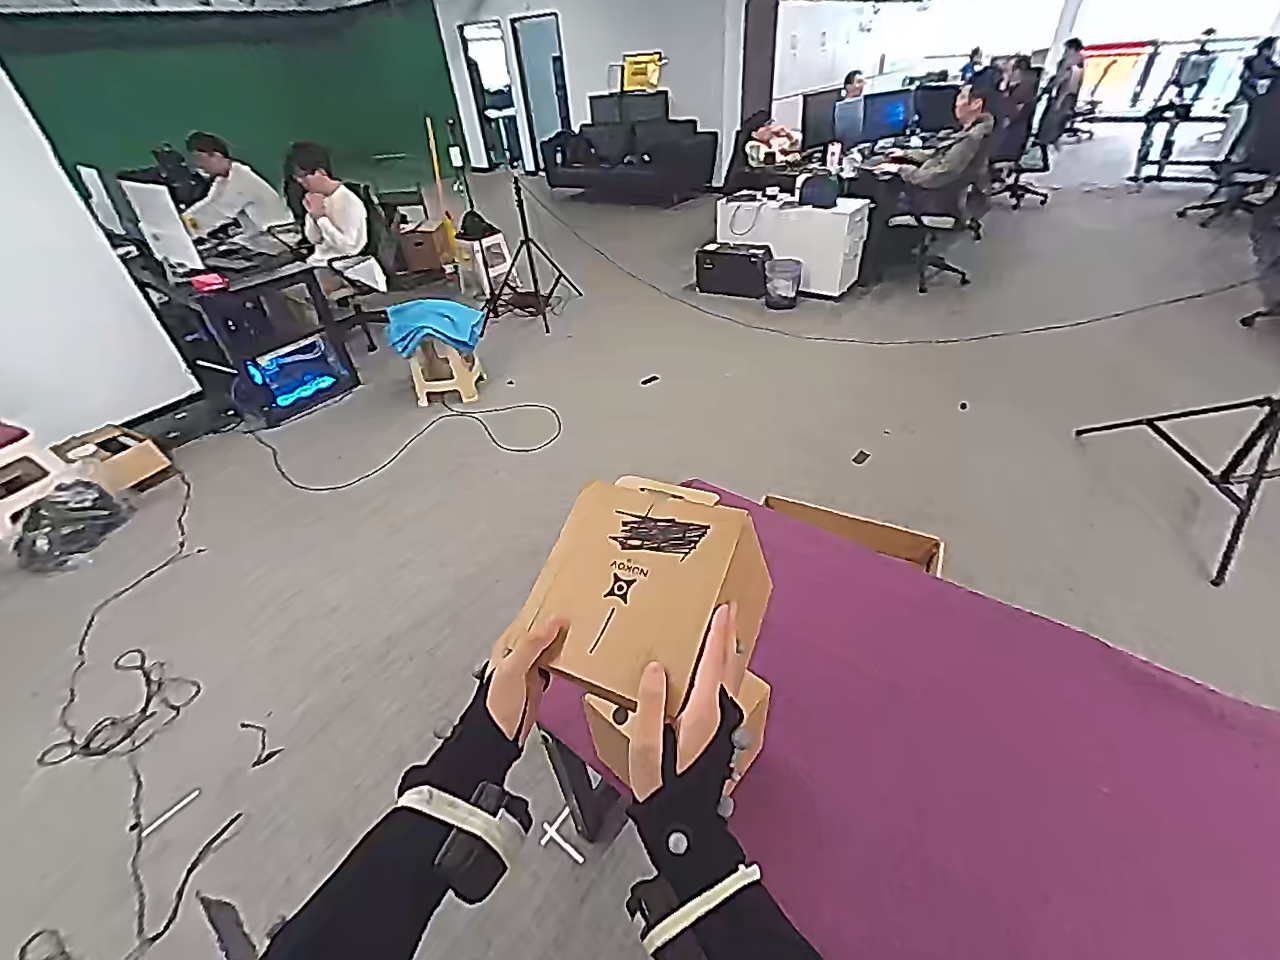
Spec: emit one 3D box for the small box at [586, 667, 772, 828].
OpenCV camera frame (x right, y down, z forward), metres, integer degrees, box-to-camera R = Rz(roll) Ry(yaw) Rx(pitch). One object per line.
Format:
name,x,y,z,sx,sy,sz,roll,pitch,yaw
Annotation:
small box,0.054,0.325,0.726,0.179,0.176,0.168,27,48,34

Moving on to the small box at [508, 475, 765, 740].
small box,0.014,0.123,0.517,0.168,0.176,0.179,11,64,27
